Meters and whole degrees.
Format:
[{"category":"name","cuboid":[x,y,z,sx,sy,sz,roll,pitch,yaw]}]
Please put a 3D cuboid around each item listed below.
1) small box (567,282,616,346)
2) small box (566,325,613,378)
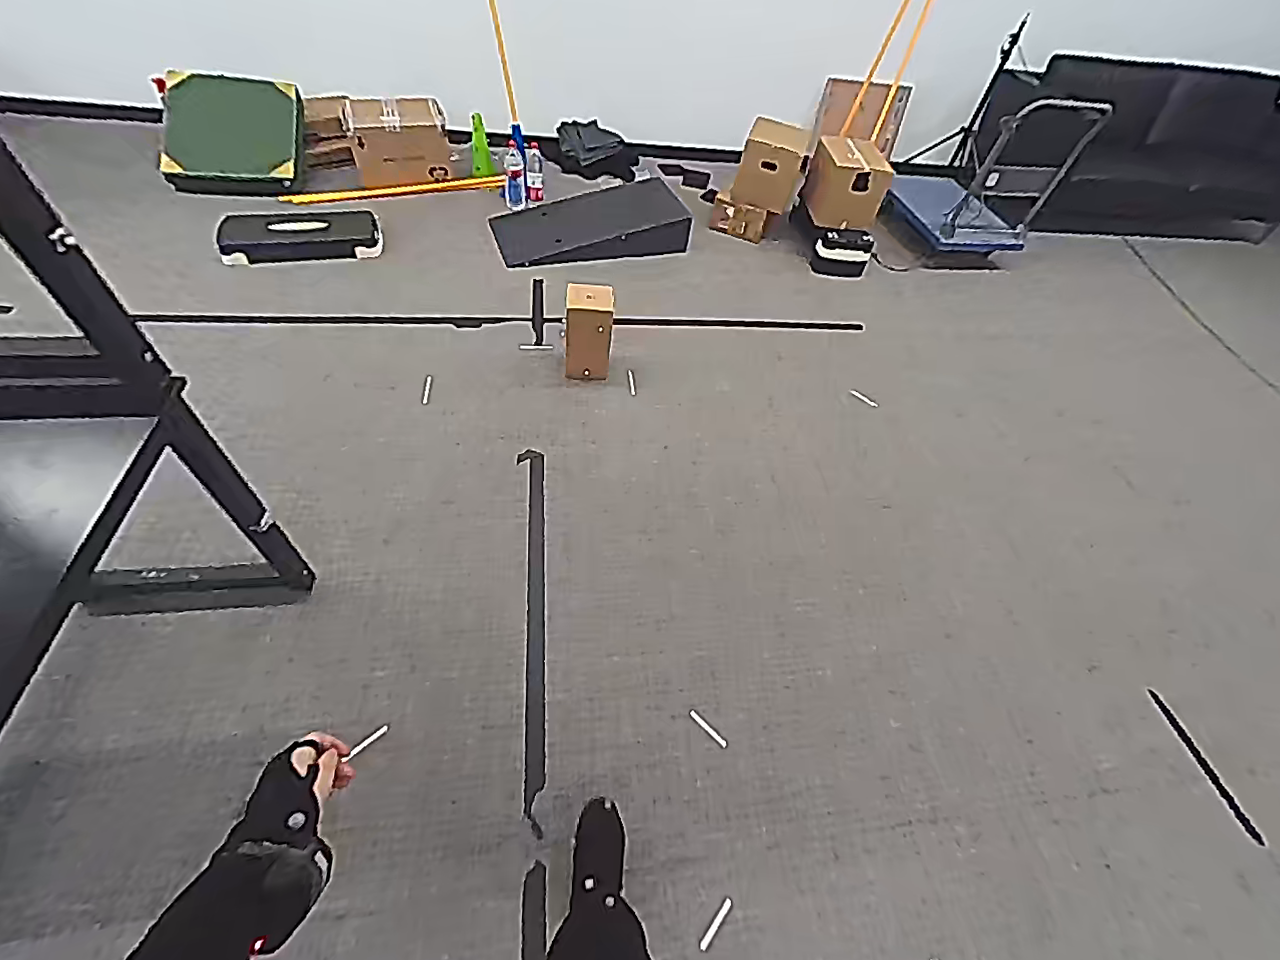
[{"category":"small box","cuboid":[-0.185,-0.629,2.066,0.179,0.176,0.168,2,51,-6]},{"category":"small box","cuboid":[-0.210,-0.529,2.193,0.179,0.176,0.168,1,51,-10]}]
